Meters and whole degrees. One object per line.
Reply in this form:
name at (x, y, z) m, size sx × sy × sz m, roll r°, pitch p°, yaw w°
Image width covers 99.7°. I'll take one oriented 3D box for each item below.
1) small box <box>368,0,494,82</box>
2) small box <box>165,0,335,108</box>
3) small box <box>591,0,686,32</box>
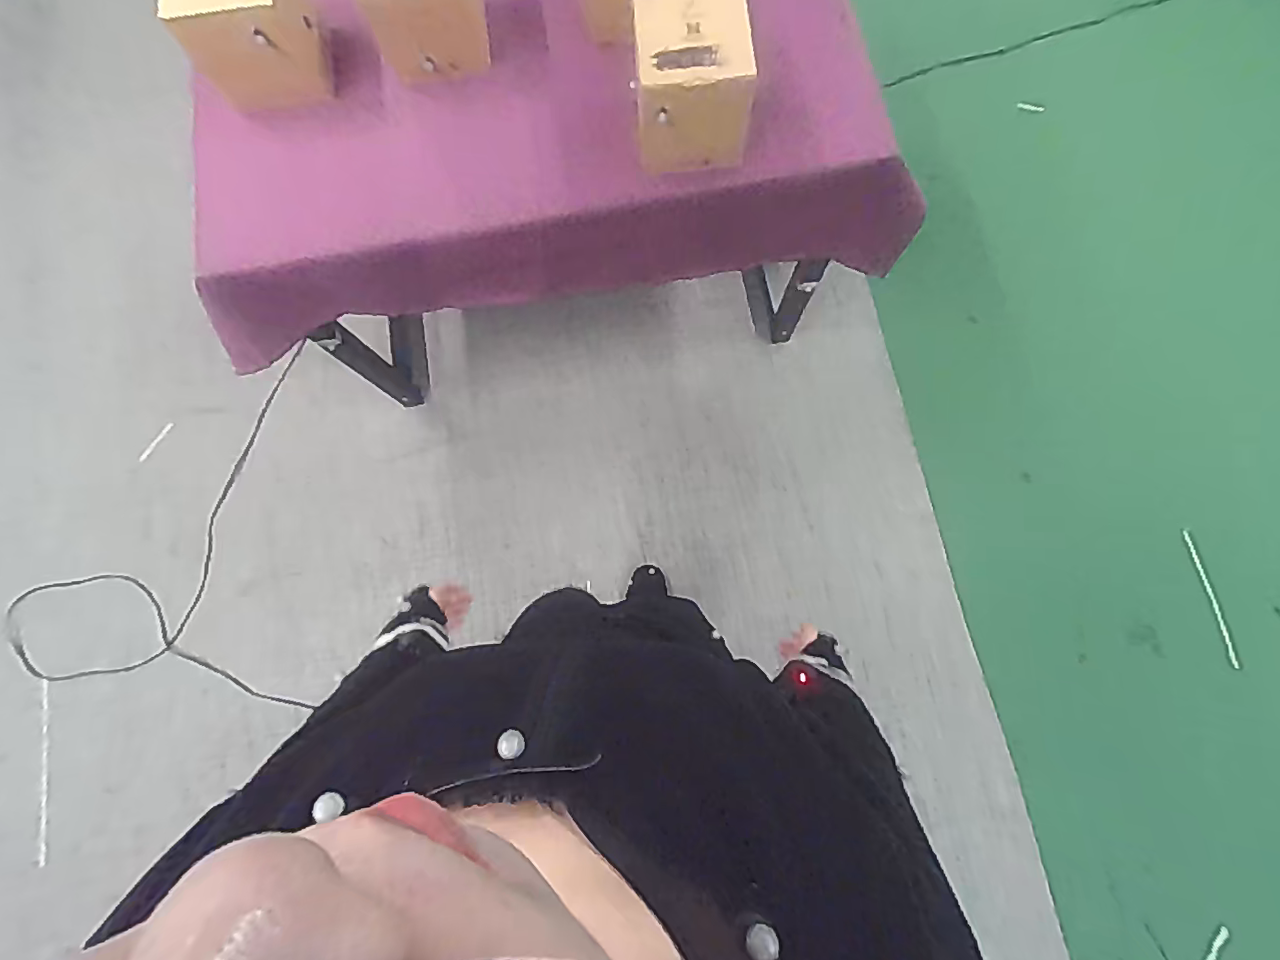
small box at (-0.355, -0.823, 0.909) m, size 0.168 × 0.176 × 0.179 m, roll -8°, pitch 79°, yaw 1°
small box at (-0.638, -0.770, 0.907) m, size 0.179 × 0.176 × 0.168 m, roll -8°, pitch 79°, yaw 0°
small box at (-0.006, -0.897, 0.907) m, size 0.168 × 0.176 × 0.179 m, roll -3°, pitch 80°, yaw 1°
